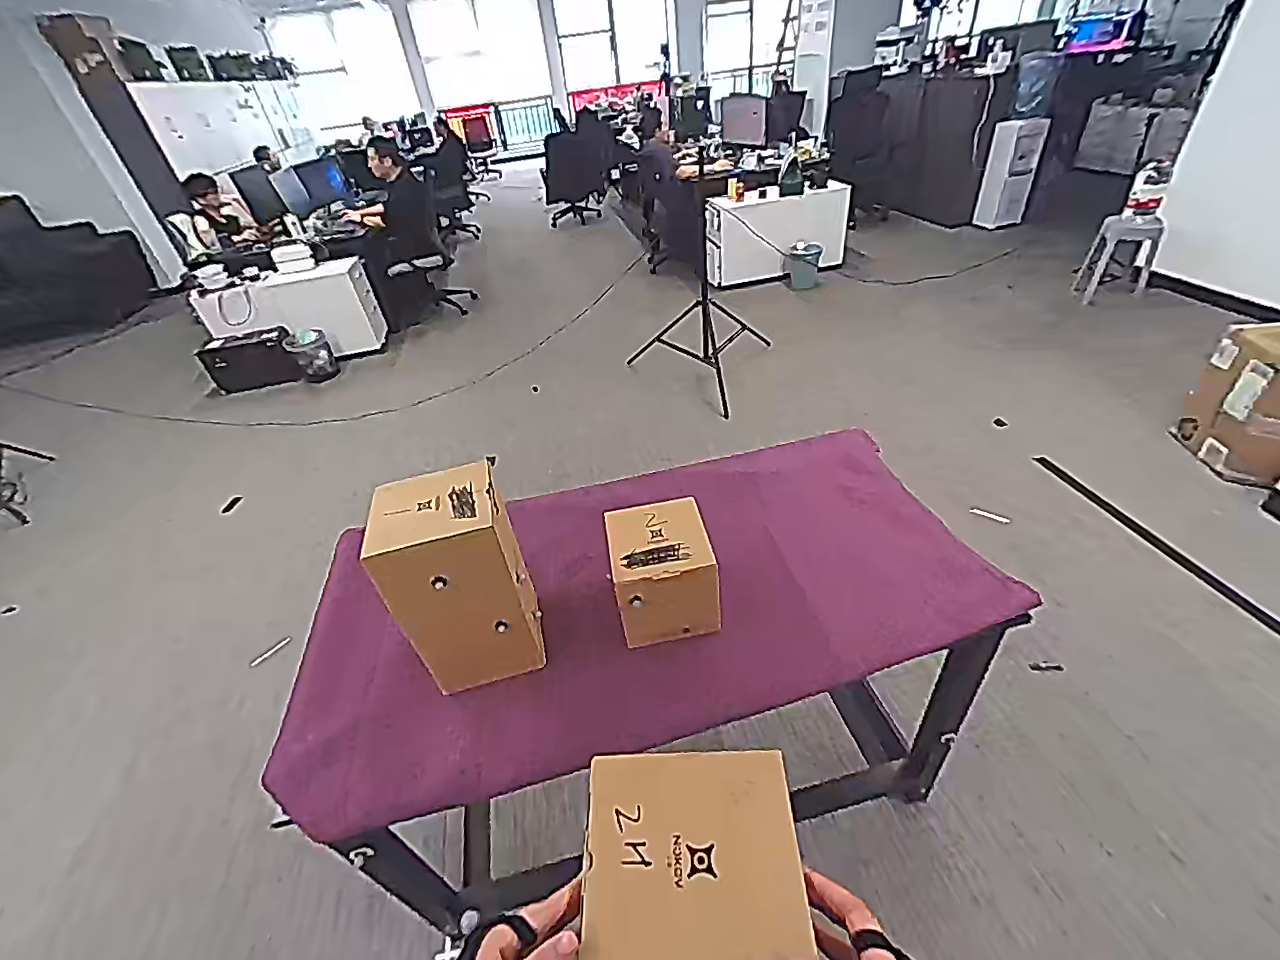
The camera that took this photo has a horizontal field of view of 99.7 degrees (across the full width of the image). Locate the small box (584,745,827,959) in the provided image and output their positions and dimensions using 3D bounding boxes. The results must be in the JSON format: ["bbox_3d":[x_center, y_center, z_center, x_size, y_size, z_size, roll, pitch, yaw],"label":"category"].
[{"bbox_3d":[0.054,0.359,0.490,0.179,0.176,0.168,-4,41,4],"label":"small box"}]

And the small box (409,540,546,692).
[{"bbox_3d":[-0.271,0.231,0.923,0.179,0.176,0.168,-14,38,-8],"label":"small box"}]

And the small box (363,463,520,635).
[{"bbox_3d":[-0.286,0.104,0.819,0.179,0.176,0.168,-15,38,-8],"label":"small box"}]
